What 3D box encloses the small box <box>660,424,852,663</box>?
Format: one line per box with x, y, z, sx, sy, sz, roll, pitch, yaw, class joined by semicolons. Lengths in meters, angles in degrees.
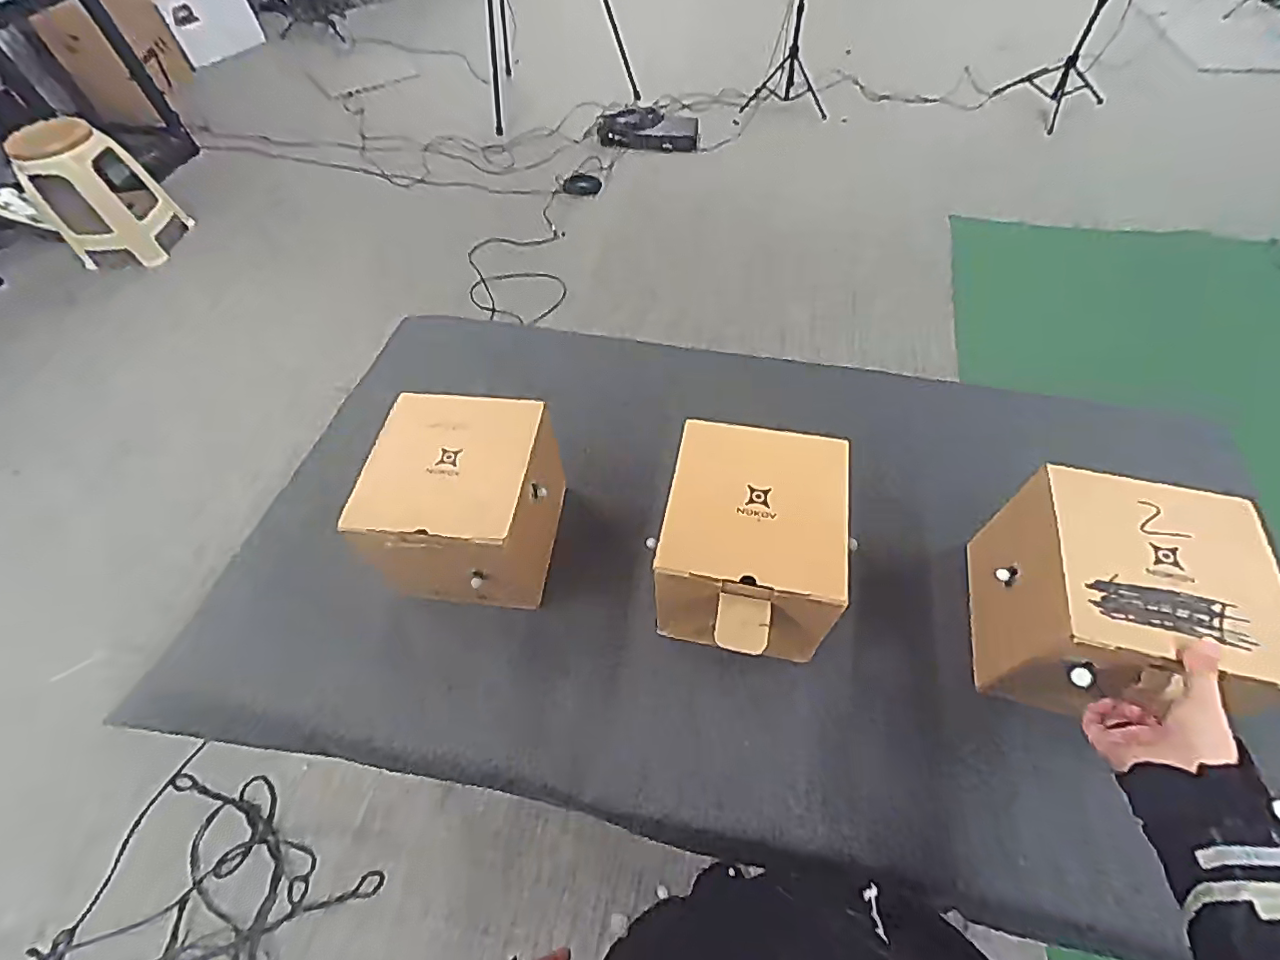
0.115;0.069;0.568;0.168;0.176;0.179;9;56;9;small box

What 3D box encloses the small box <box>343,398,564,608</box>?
-0.188;0.031;0.612;0.168;0.176;0.179;4;55;4;small box
